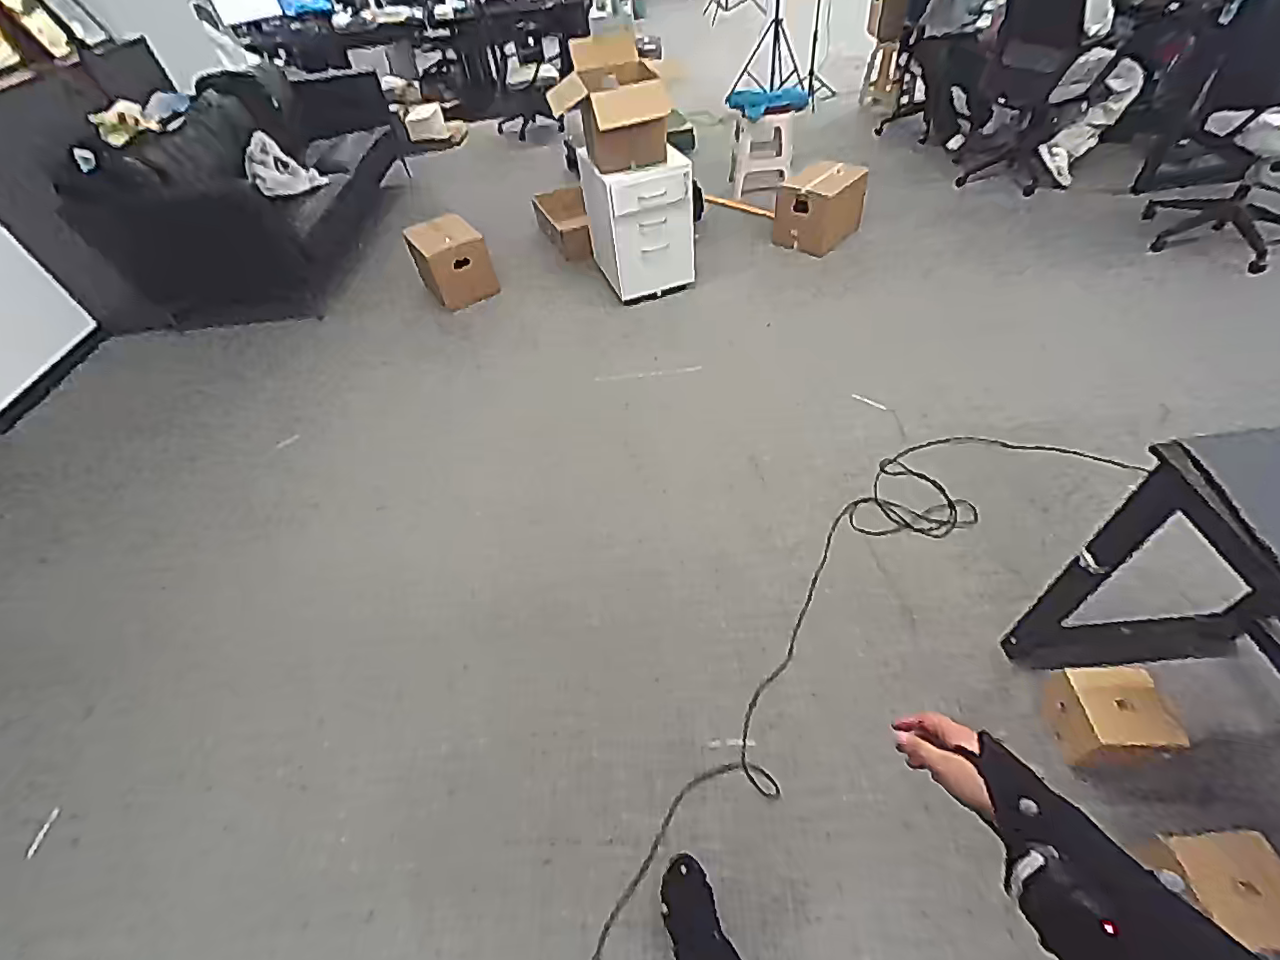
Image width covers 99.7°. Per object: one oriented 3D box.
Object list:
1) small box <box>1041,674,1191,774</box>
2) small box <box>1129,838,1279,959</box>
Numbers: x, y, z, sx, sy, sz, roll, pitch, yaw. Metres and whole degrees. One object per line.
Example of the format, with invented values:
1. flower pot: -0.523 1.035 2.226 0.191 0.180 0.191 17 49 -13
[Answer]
1. small box: 1.057 0.556 1.227 0.179 0.176 0.168 -2 48 5
2. small box: 1.078 0.788 1.011 0.179 0.176 0.168 -6 48 1
